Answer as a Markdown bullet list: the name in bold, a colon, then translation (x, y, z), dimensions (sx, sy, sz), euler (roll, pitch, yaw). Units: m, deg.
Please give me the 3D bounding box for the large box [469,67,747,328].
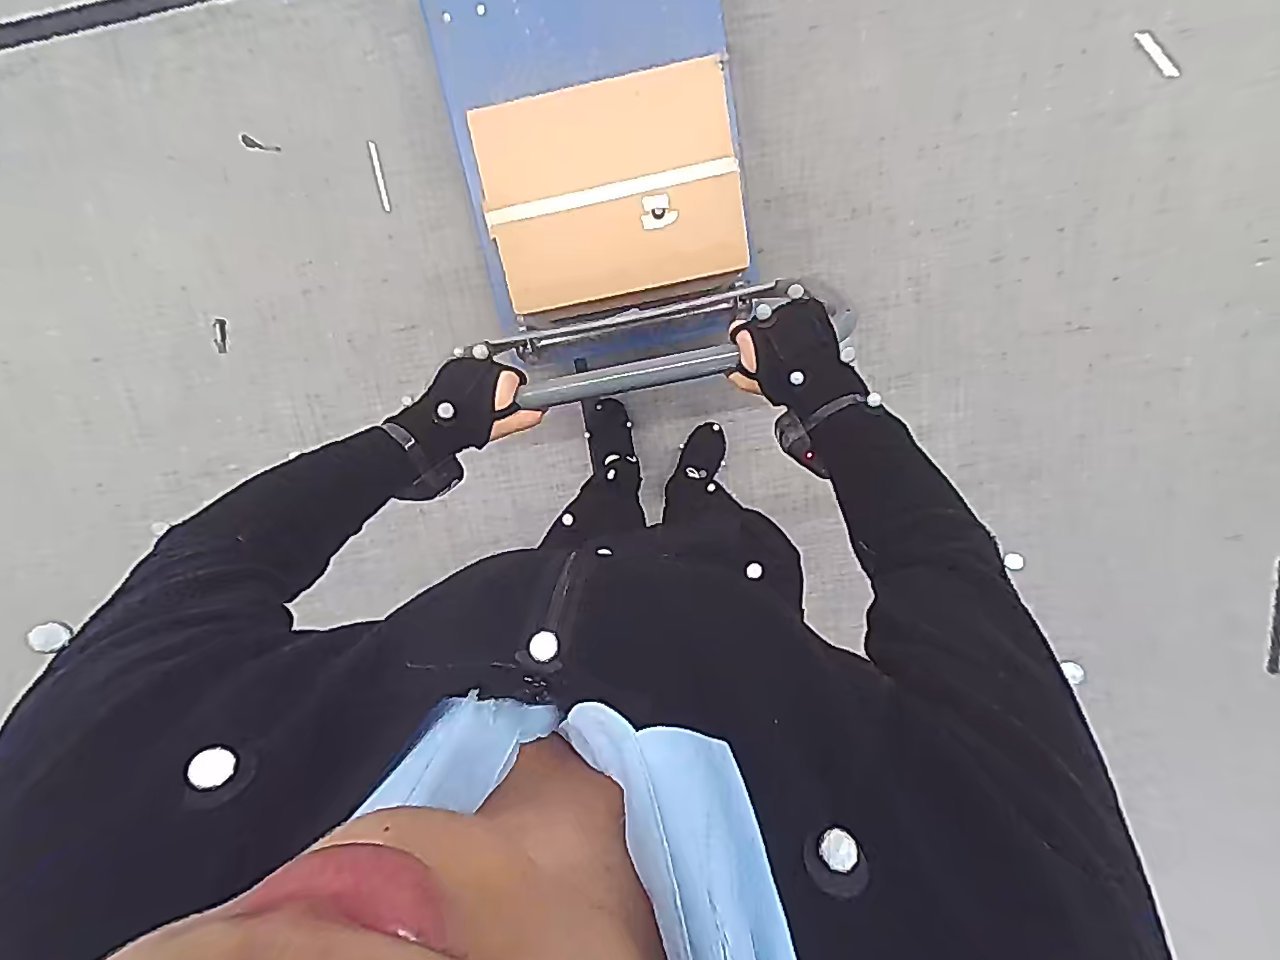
- **large box**: translation (-0.049, -0.484, 1.013), dimensions (0.408, 0.320, 0.320), euler (-11, 105, 2)
